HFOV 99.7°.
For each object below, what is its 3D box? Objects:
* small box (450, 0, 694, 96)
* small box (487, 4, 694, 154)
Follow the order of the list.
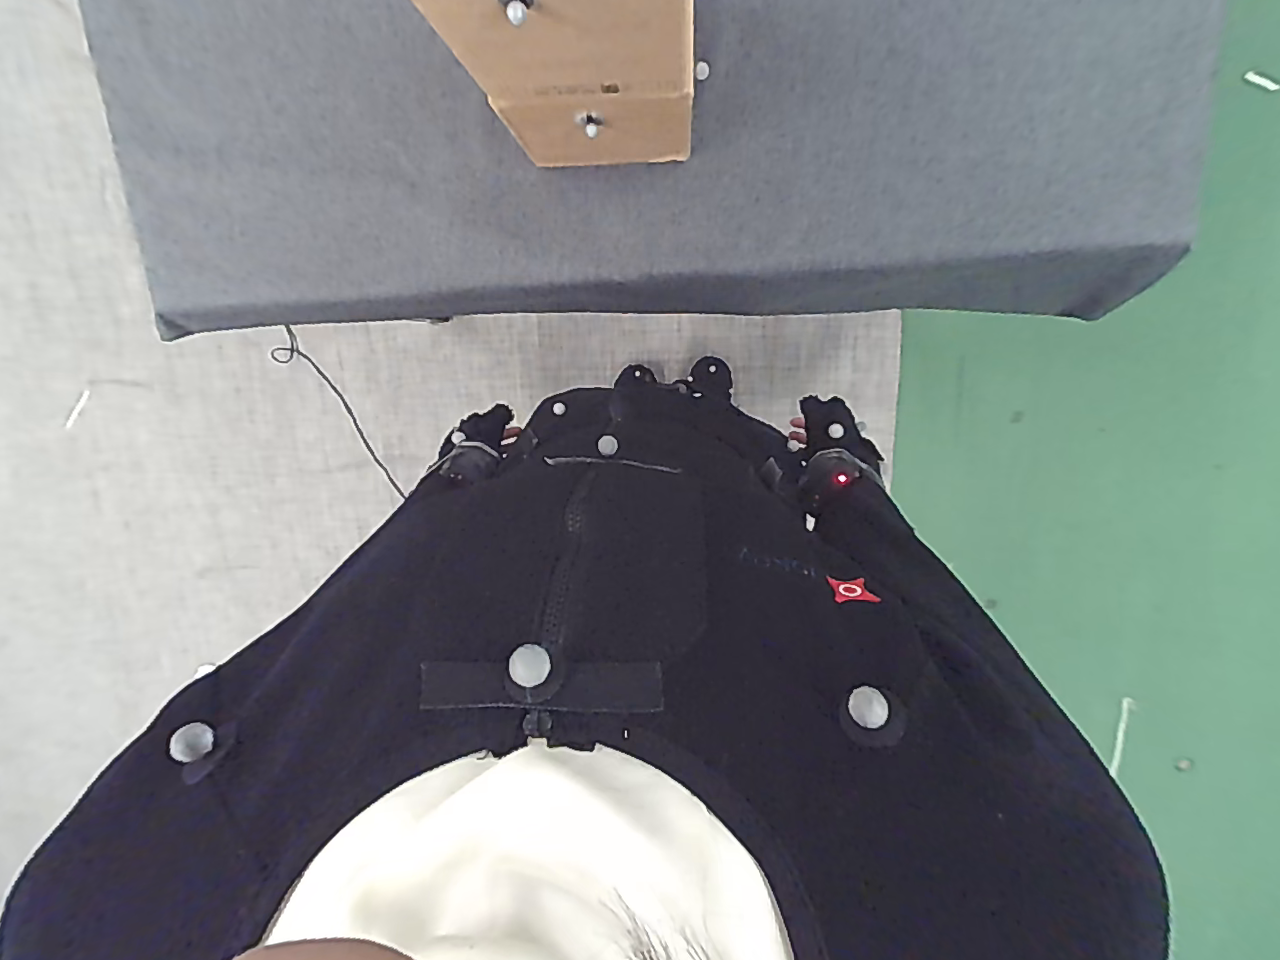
[{"bbox_3d":[-0.048,-0.393,0.358,0.168,0.176,0.179,-2,105,4],"label":"small box"},{"bbox_3d":[-0.038,-0.429,0.514,0.179,0.176,0.168,0,104,4],"label":"small box"}]
